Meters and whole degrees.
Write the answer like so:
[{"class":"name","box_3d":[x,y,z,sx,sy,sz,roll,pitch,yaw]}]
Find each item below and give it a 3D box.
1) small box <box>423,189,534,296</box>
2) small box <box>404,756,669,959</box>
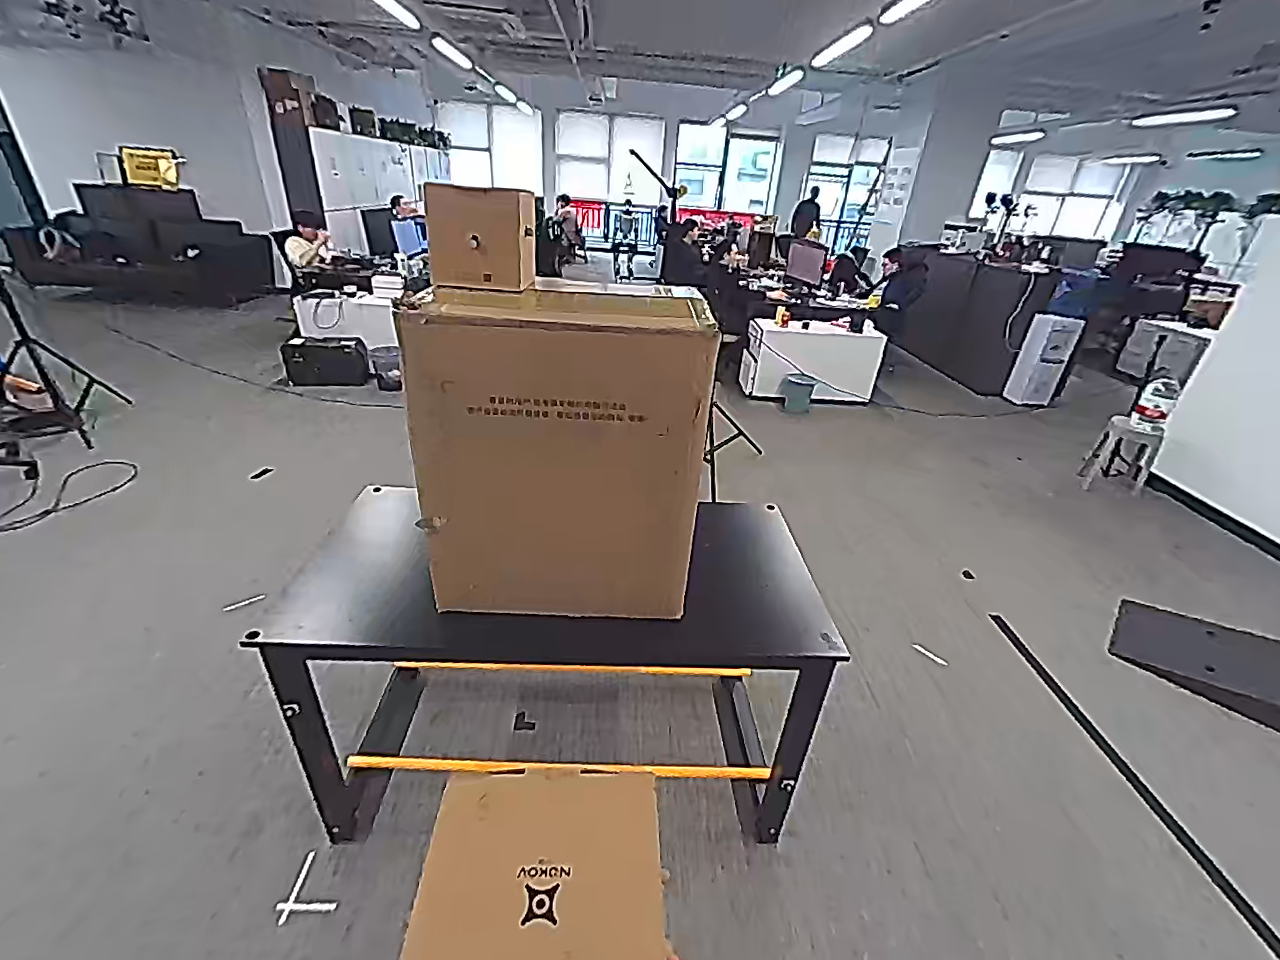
[{"class":"small box","box_3d":[-0.296,-0.453,1.031,0.168,0.176,0.179,3,27,-4]},{"class":"small box","box_3d":[-0.071,0.341,0.412,0.168,0.176,0.179,2,31,-4]}]
